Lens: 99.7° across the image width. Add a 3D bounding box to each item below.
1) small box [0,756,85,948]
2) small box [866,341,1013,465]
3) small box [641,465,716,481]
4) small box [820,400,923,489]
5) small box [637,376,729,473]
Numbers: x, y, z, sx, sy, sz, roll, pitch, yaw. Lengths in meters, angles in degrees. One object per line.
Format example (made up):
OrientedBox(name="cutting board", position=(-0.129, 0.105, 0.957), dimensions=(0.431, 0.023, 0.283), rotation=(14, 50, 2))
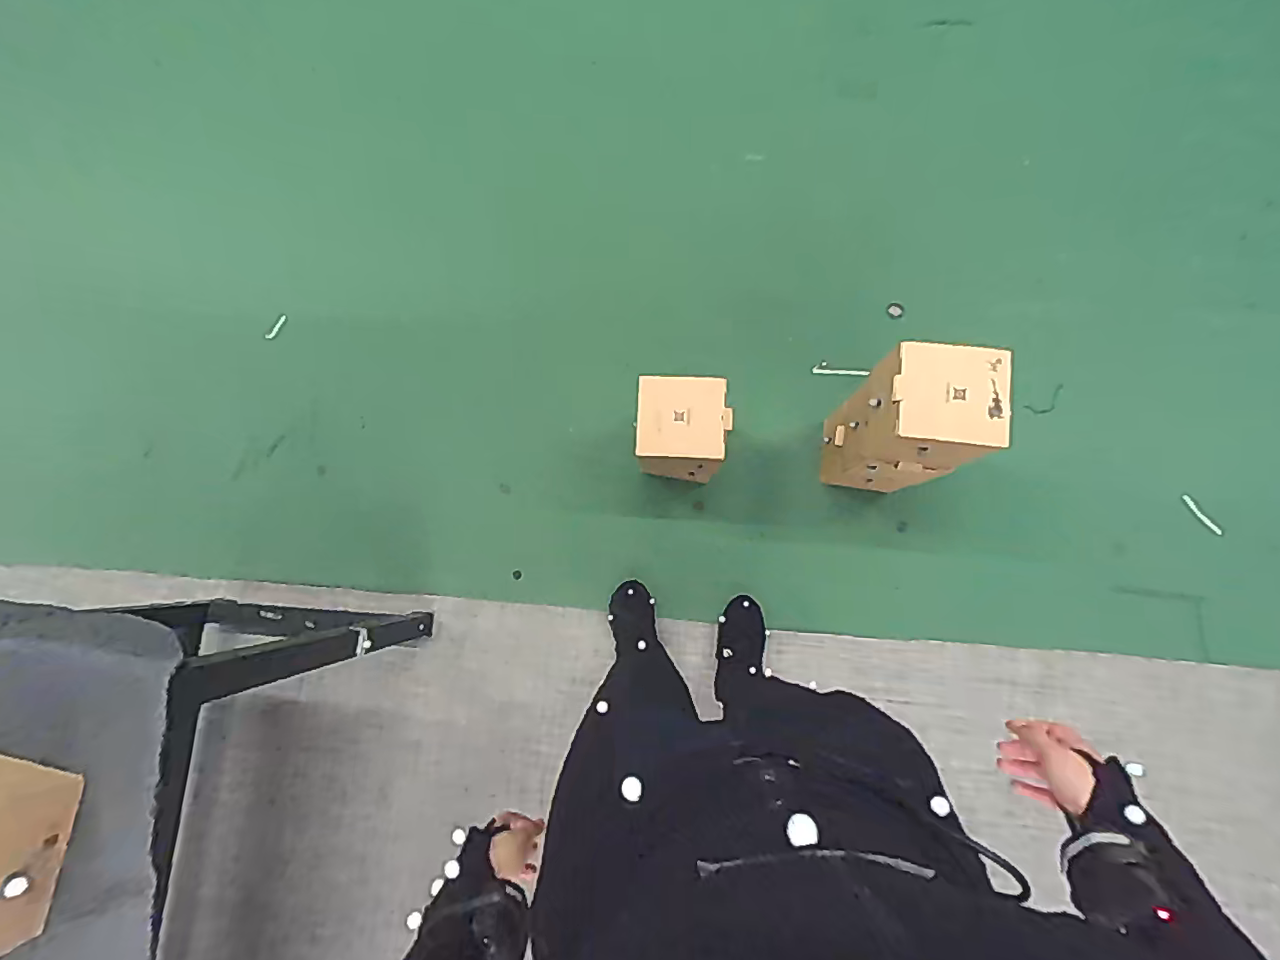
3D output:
OrientedBox(name="small box", position=(-0.724, 0.388, 0.526), dimensions=(0.179, 0.176, 0.168), rotation=(9, 83, 6))
OrientedBox(name="small box", position=(0.512, -0.127, 0.946), dimensions=(0.179, 0.176, 0.168), rotation=(7, 81, 5))
OrientedBox(name="small box", position=(0.101, -0.098, 1.296), dimensions=(0.179, 0.176, 0.168), rotation=(10, 82, 5))
OrientedBox(name="small box", position=(0.541, -0.076, 1.269), dimensions=(0.179, 0.176, 0.168), rotation=(8, 83, 4))
OrientedBox(name="small box", position=(0.090, -0.111, 1.135), dimensions=(0.179, 0.176, 0.168), rotation=(2, 81, 4))
